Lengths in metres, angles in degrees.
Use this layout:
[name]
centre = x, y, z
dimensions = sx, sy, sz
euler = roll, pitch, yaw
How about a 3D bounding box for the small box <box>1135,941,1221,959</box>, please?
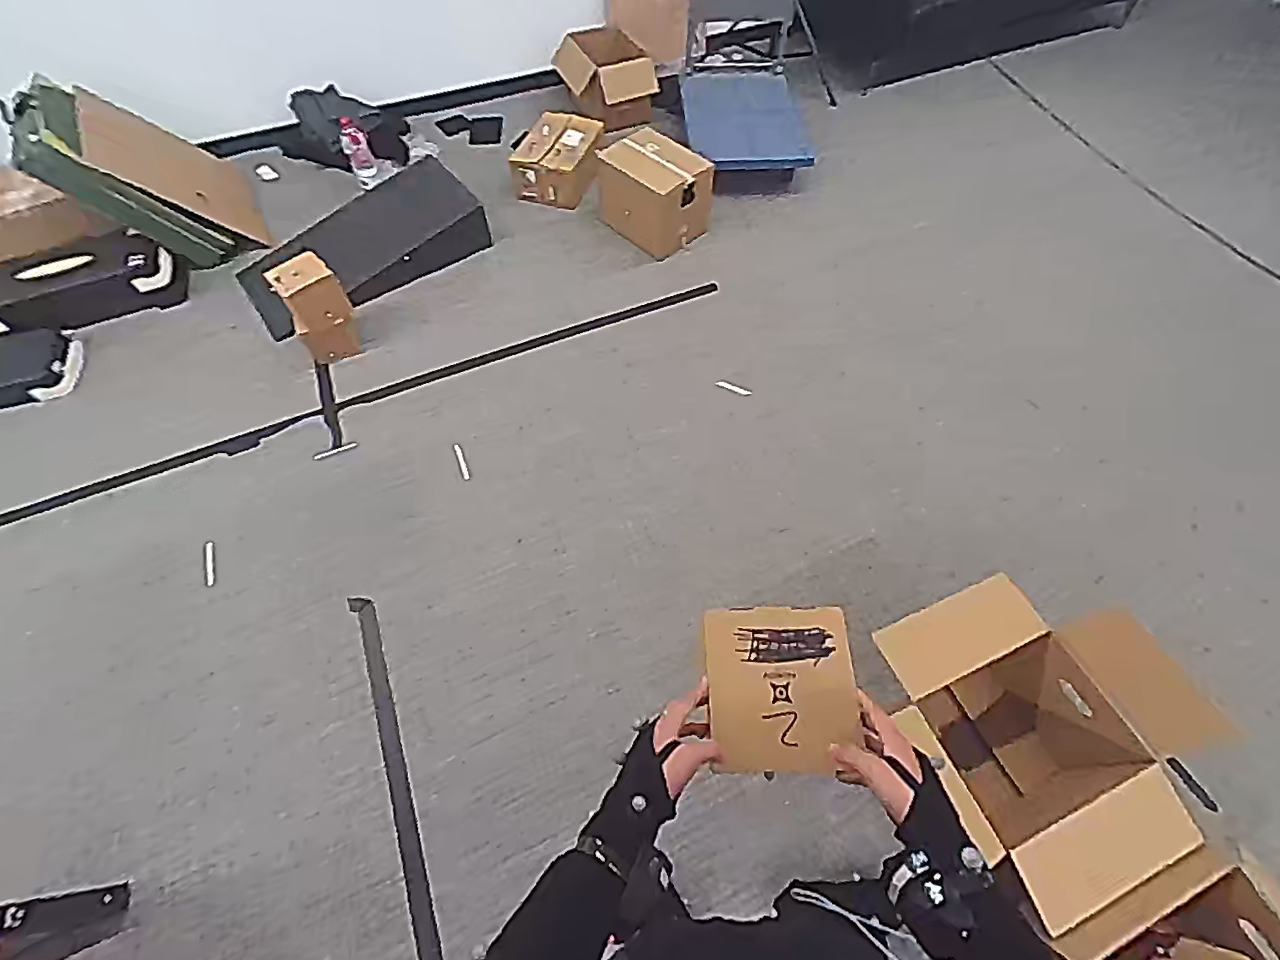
[small box]
centre = 1.006, 0.962, 0.944
dimensions = 0.168, 0.176, 0.179
euler = -20, 62, -9
